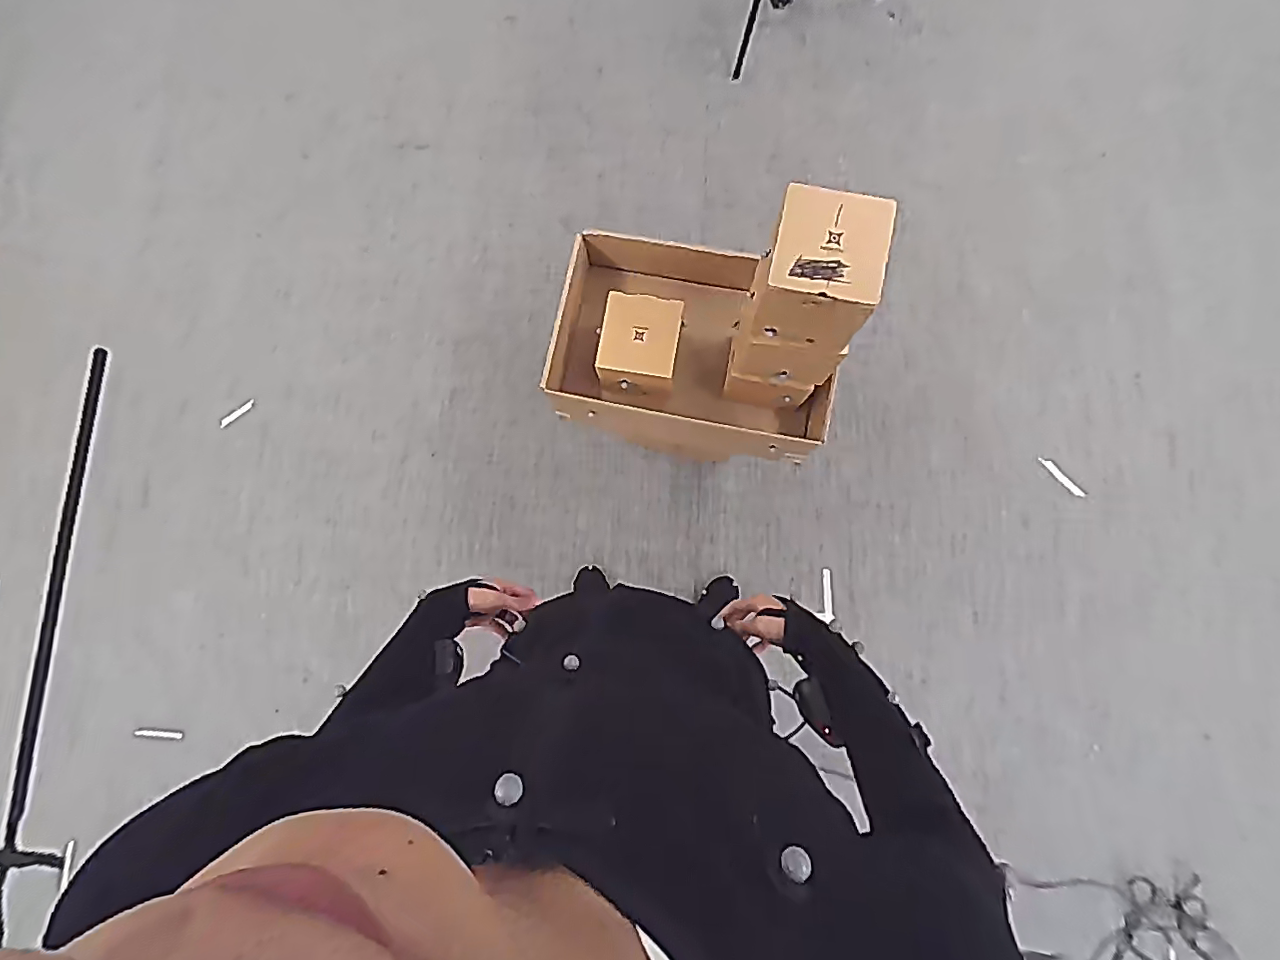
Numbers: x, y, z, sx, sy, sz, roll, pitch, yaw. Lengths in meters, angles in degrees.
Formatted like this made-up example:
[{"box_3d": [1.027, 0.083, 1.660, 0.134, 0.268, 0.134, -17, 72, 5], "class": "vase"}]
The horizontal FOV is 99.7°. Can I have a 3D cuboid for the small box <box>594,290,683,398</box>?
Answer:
[{"box_3d": [0.001, -0.296, 1.213, 0.168, 0.176, 0.179, 9, 81, 4], "class": "small box"}]

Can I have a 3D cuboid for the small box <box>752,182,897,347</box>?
[{"box_3d": [0.285, -0.334, 0.870, 0.168, 0.176, 0.179, 13, 82, 4], "class": "small box"}]

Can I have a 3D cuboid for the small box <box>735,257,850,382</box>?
[{"box_3d": [0.289, -0.295, 1.031, 0.179, 0.176, 0.168, 9, 82, 3], "class": "small box"}]
